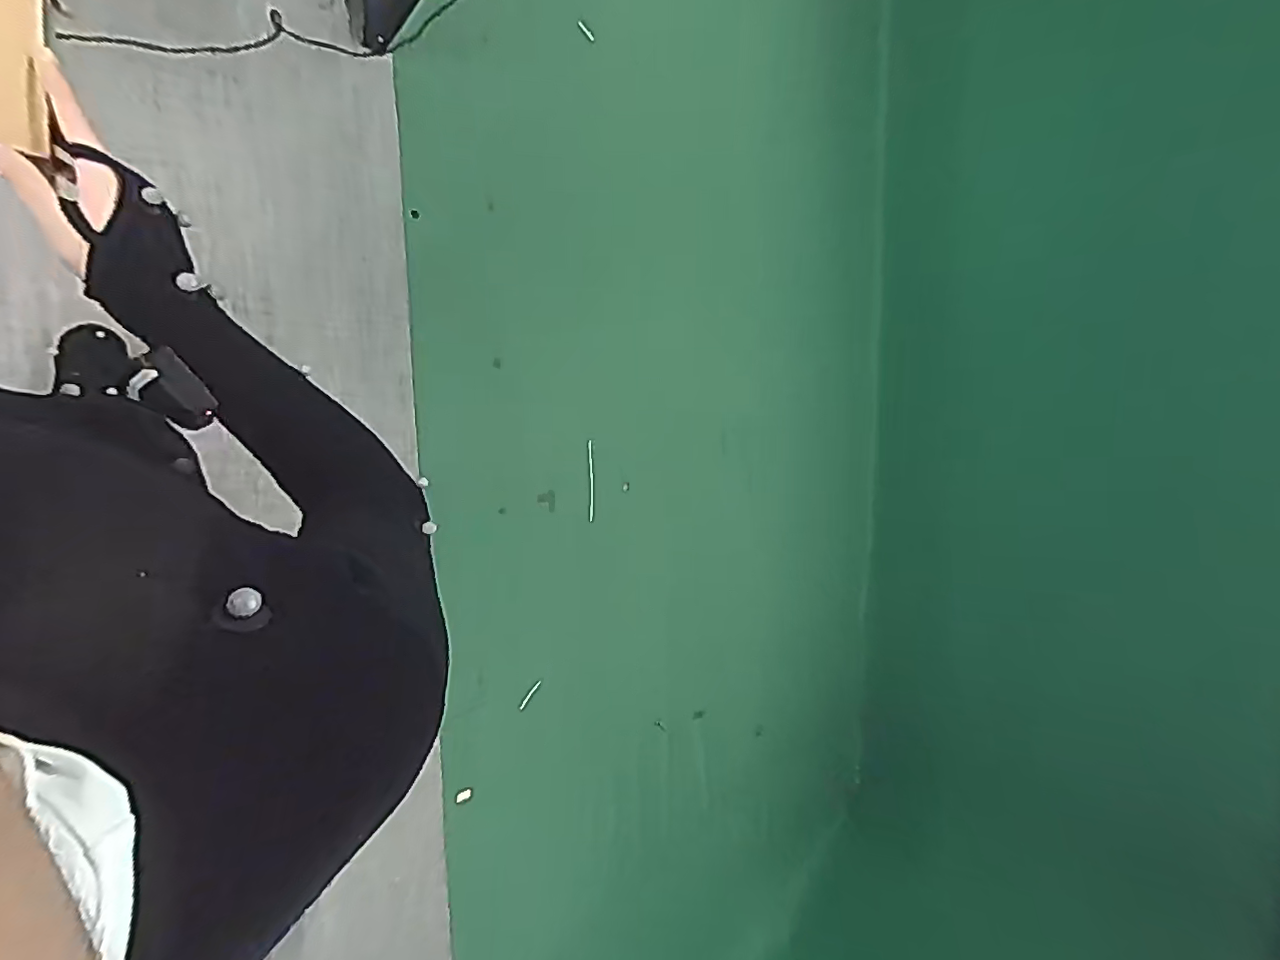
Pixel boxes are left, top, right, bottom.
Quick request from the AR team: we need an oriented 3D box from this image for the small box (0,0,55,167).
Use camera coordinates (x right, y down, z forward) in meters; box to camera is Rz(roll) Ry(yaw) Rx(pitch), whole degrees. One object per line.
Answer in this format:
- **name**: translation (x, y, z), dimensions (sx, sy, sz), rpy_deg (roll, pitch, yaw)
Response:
- **small box**: translation (-0.537, -0.349, 0.378), dimensions (0.168, 0.176, 0.179), rpy_deg (-2, 107, -45)
